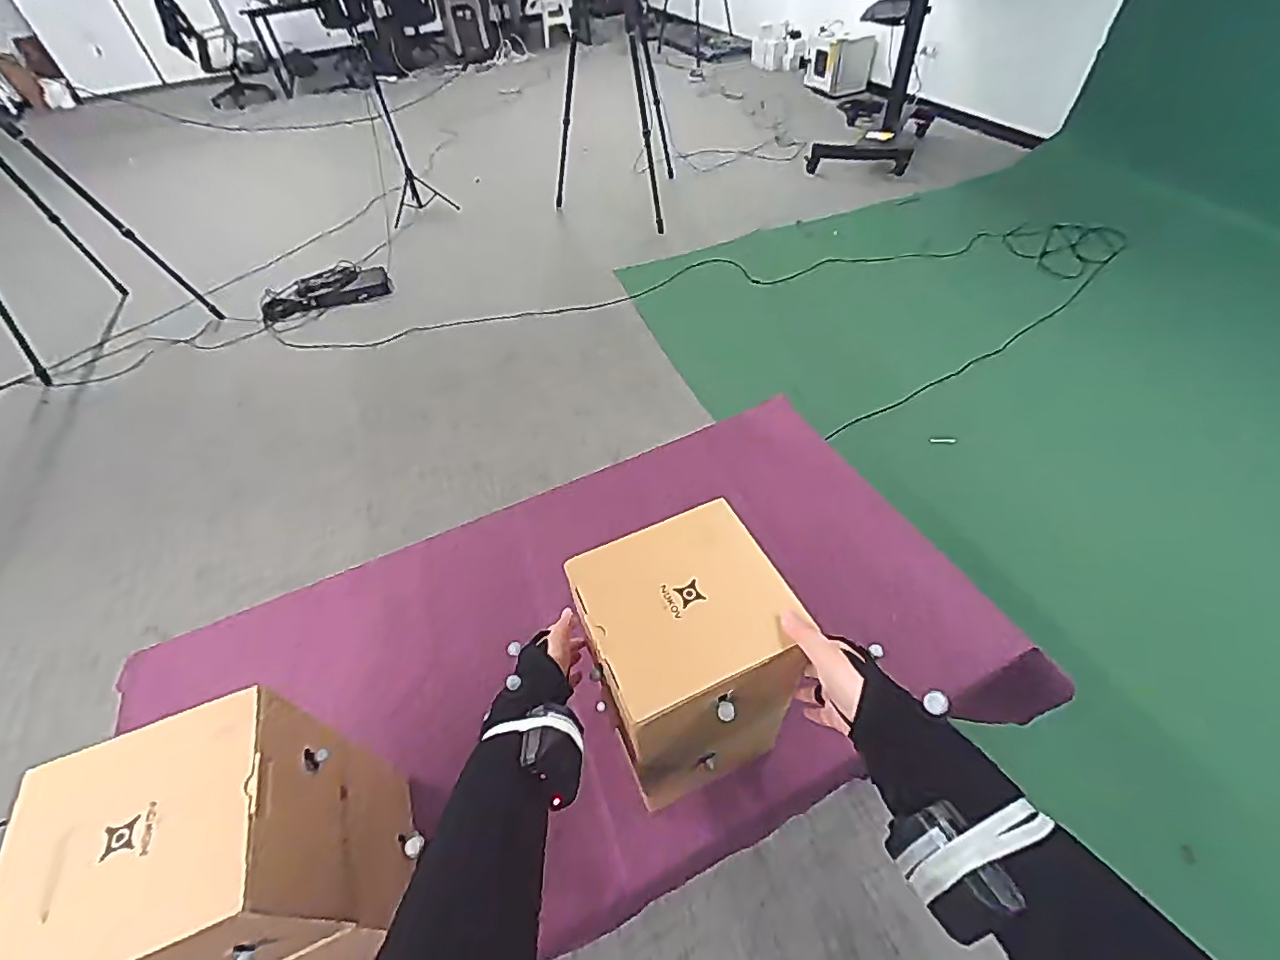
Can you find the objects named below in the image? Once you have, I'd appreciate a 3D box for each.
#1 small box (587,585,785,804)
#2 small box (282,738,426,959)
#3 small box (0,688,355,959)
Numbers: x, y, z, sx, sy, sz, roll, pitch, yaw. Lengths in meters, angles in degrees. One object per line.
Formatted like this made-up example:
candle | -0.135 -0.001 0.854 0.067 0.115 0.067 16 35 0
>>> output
small box | 0.053 0.266 0.664 0.179 0.176 0.168 -21 50 -12
small box | -0.347 0.416 0.576 0.168 0.176 0.179 -21 50 -11
small box | -0.359 0.309 0.453 0.179 0.176 0.168 -20 50 -10
